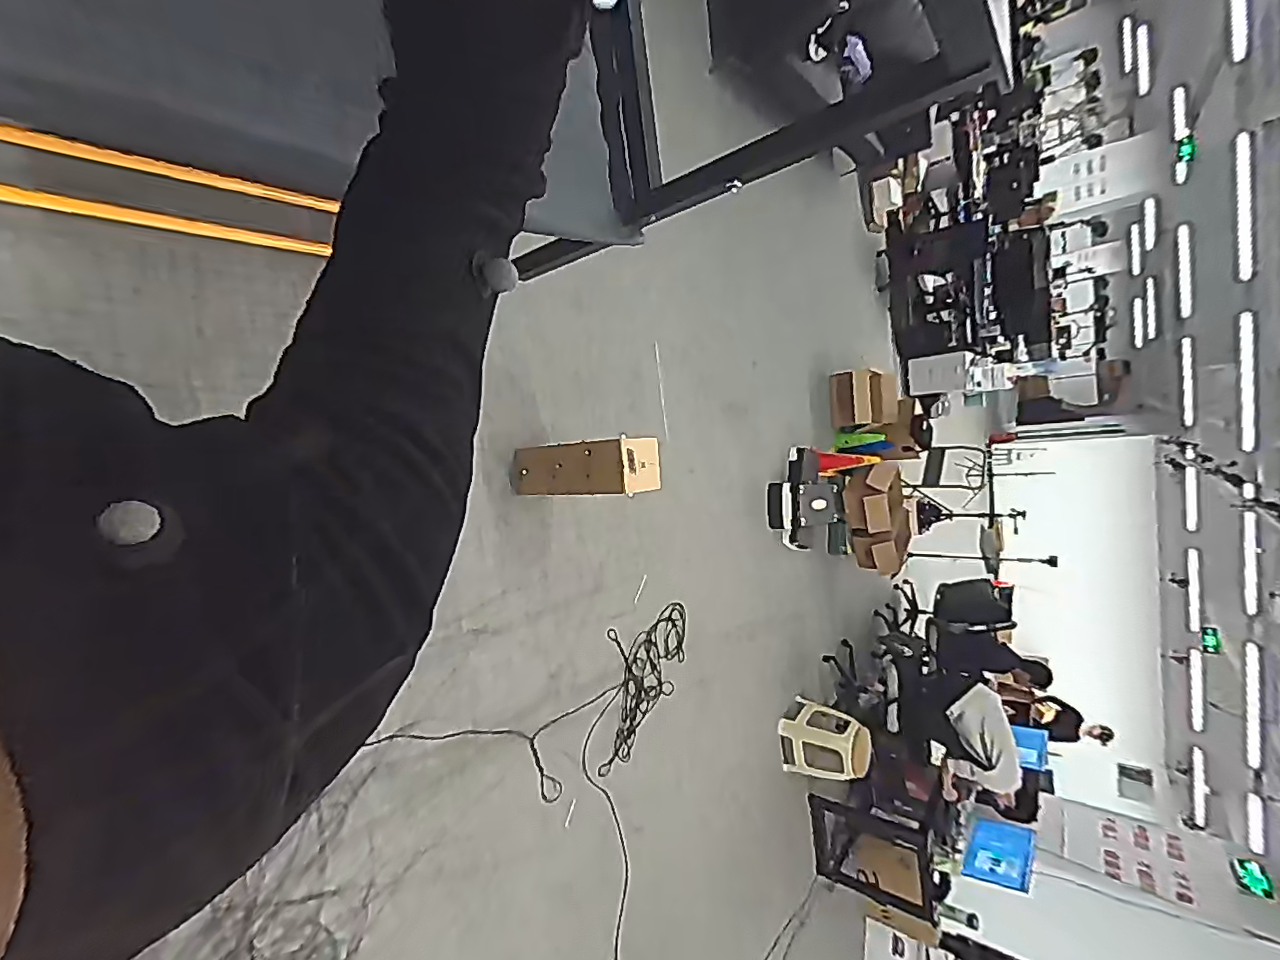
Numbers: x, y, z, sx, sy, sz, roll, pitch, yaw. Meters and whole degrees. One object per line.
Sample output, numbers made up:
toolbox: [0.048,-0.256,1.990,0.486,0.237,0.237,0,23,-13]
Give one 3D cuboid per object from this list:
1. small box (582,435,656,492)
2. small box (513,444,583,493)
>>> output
small box: [-0.071,-0.052,1.693,0.179,0.176,0.168,-7,94,-51]
small box: [-0.323,-0.040,1.899,0.179,0.176,0.168,-4,91,-50]
